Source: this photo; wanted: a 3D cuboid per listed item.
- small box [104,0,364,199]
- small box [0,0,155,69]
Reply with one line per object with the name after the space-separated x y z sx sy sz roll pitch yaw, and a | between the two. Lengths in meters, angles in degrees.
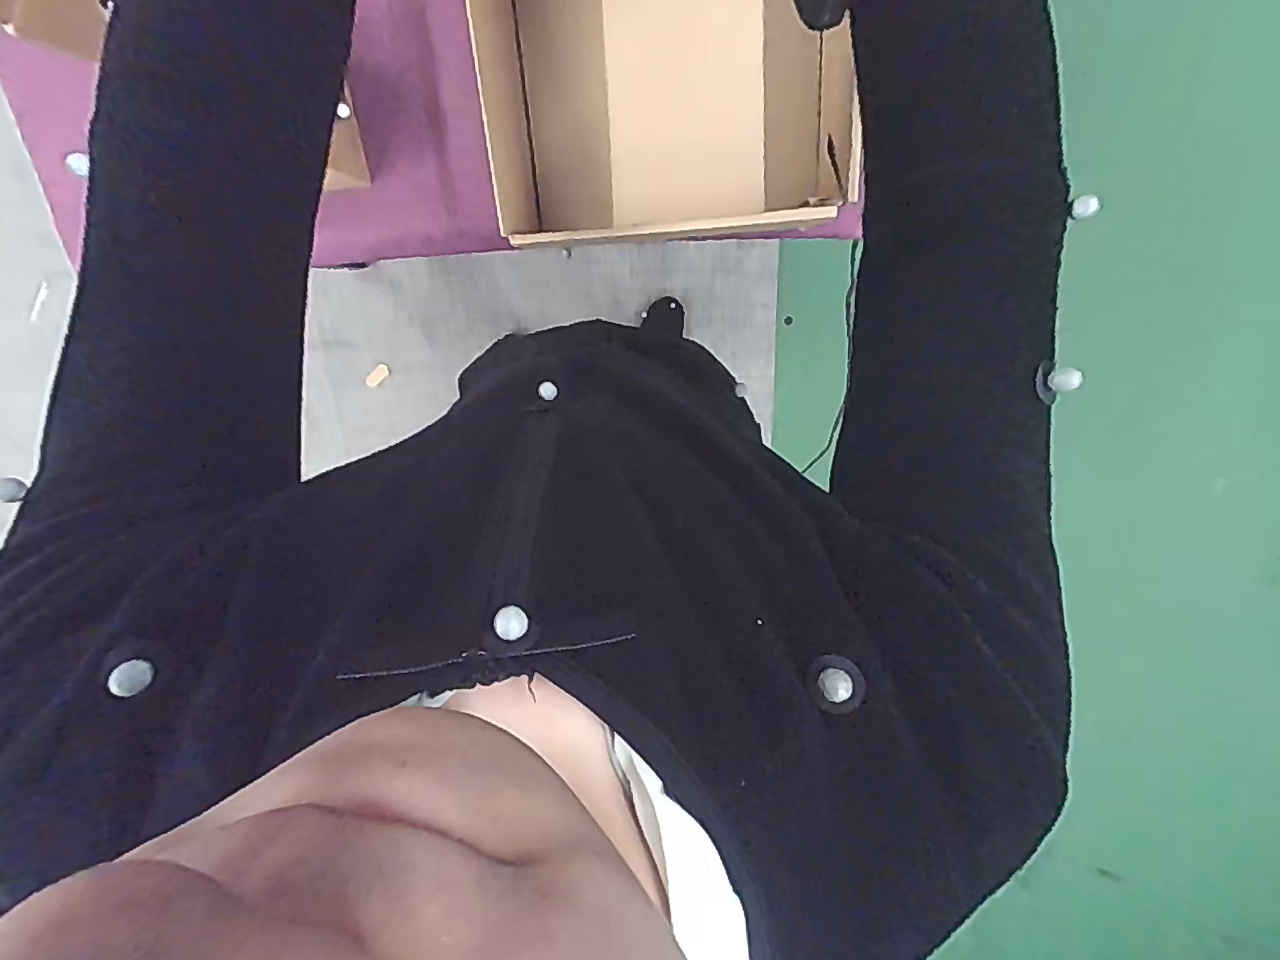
-0.492 -0.469 0.685 0.179 0.176 0.168 -5 108 6 | small box
-0.723 -0.638 0.643 0.179 0.176 0.168 37 107 -9 | small box
